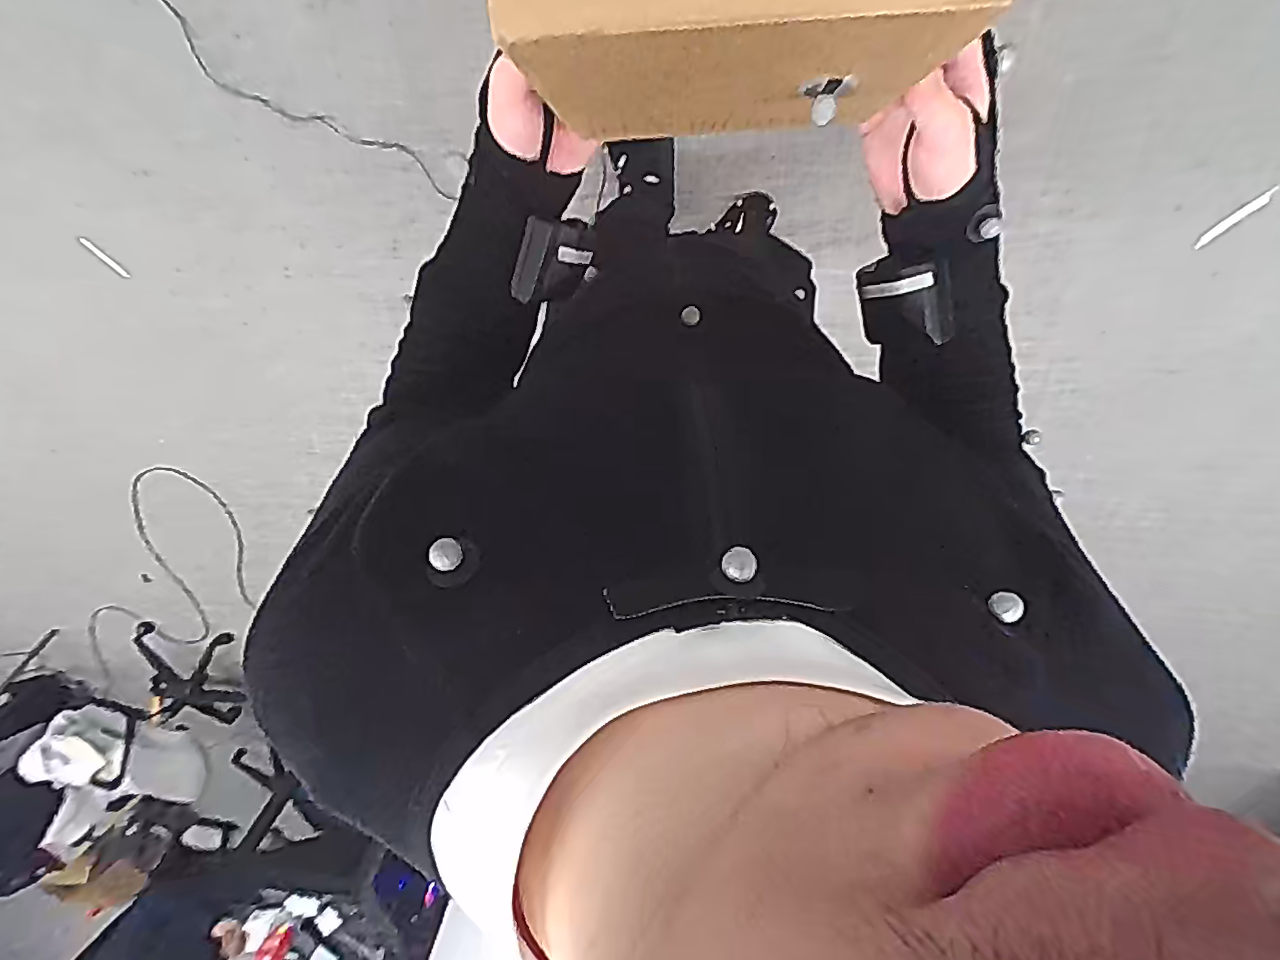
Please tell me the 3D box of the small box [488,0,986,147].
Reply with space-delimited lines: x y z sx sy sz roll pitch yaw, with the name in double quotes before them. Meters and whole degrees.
"small box" 0.034 -0.261 0.238 0.179 0.176 0.168 -1 111 5
